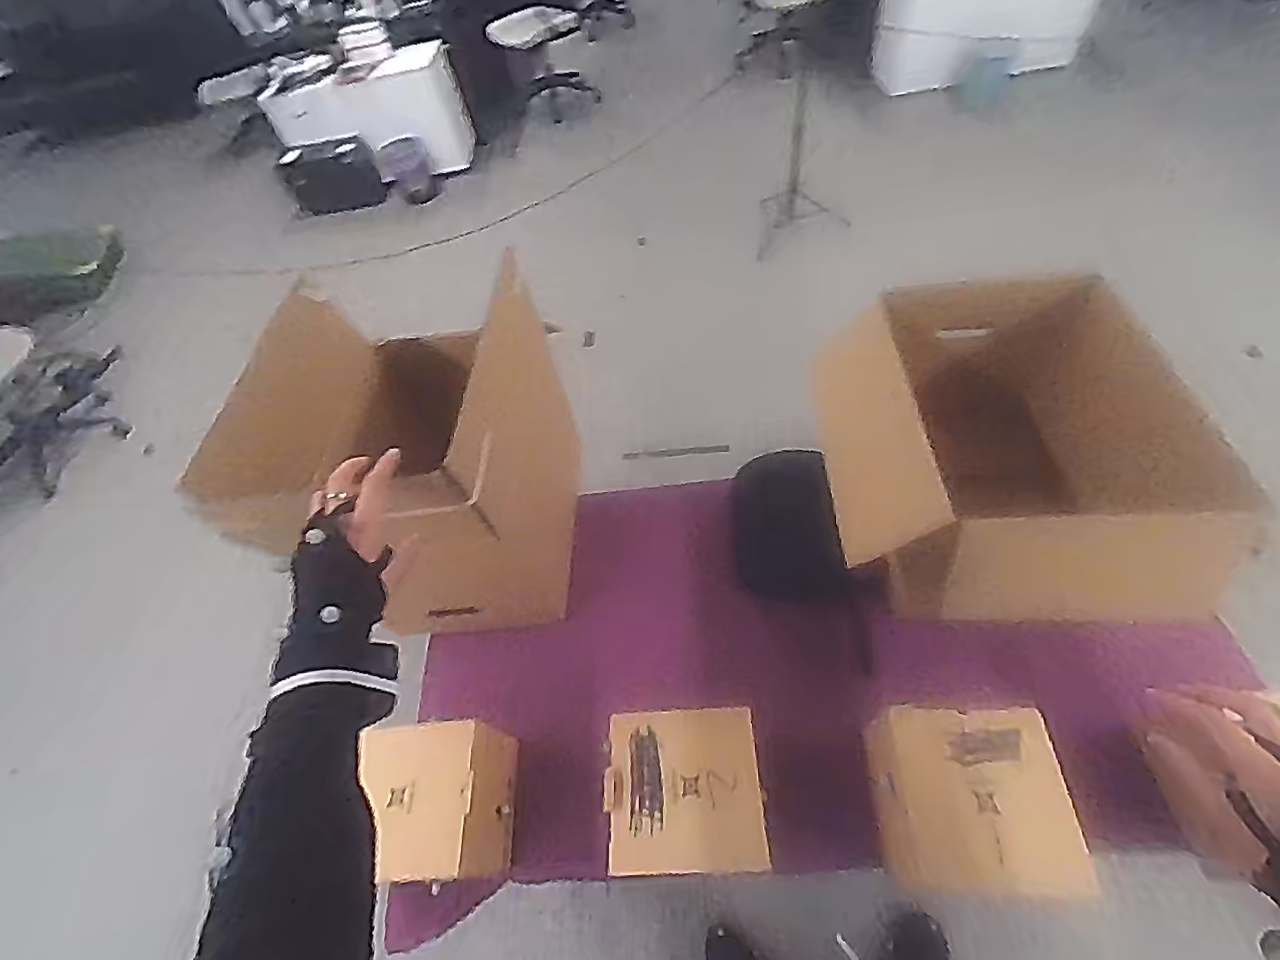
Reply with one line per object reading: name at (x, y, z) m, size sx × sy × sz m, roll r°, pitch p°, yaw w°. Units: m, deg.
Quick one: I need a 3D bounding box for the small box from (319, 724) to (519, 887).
small box at (-0.277, 0.438, 0.723) m, size 0.179 × 0.176 × 0.168 m, roll -7°, pitch 55°, yaw 4°

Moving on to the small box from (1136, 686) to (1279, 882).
small box at (0.725, 0.340, 0.605) m, size 0.168 × 0.176 × 0.179 m, roll -7°, pitch 55°, yaw 7°

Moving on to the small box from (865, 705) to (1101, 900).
small box at (0.380, 0.379, 0.643) m, size 0.168 × 0.176 × 0.179 m, roll -3°, pitch 56°, yaw 9°
